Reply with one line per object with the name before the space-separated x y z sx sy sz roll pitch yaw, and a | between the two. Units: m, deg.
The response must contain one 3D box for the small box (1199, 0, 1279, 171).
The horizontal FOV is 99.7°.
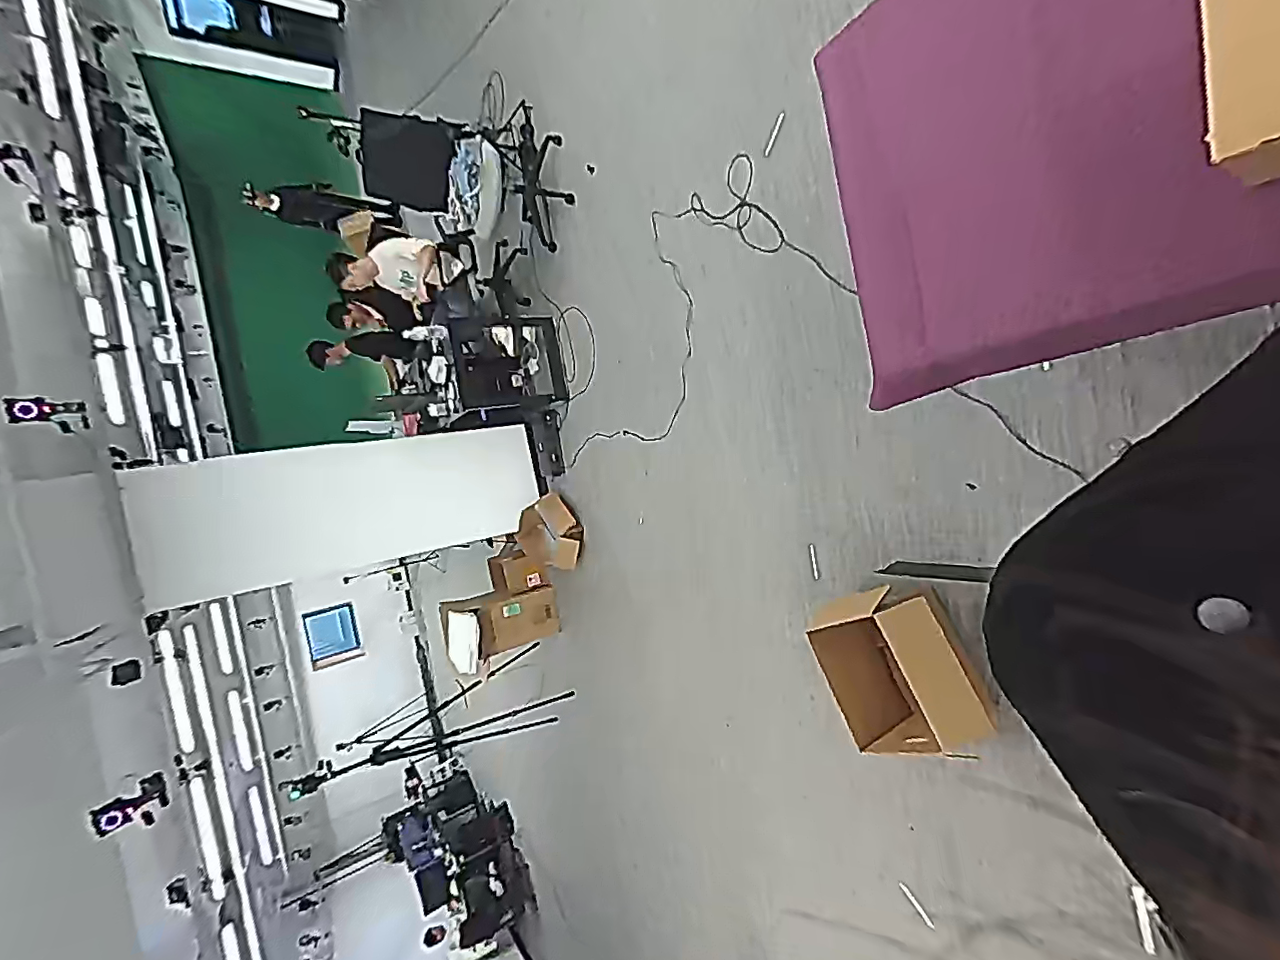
small box | 0.634 -0.399 0.478 0.168 0.176 0.179 -1 99 57
